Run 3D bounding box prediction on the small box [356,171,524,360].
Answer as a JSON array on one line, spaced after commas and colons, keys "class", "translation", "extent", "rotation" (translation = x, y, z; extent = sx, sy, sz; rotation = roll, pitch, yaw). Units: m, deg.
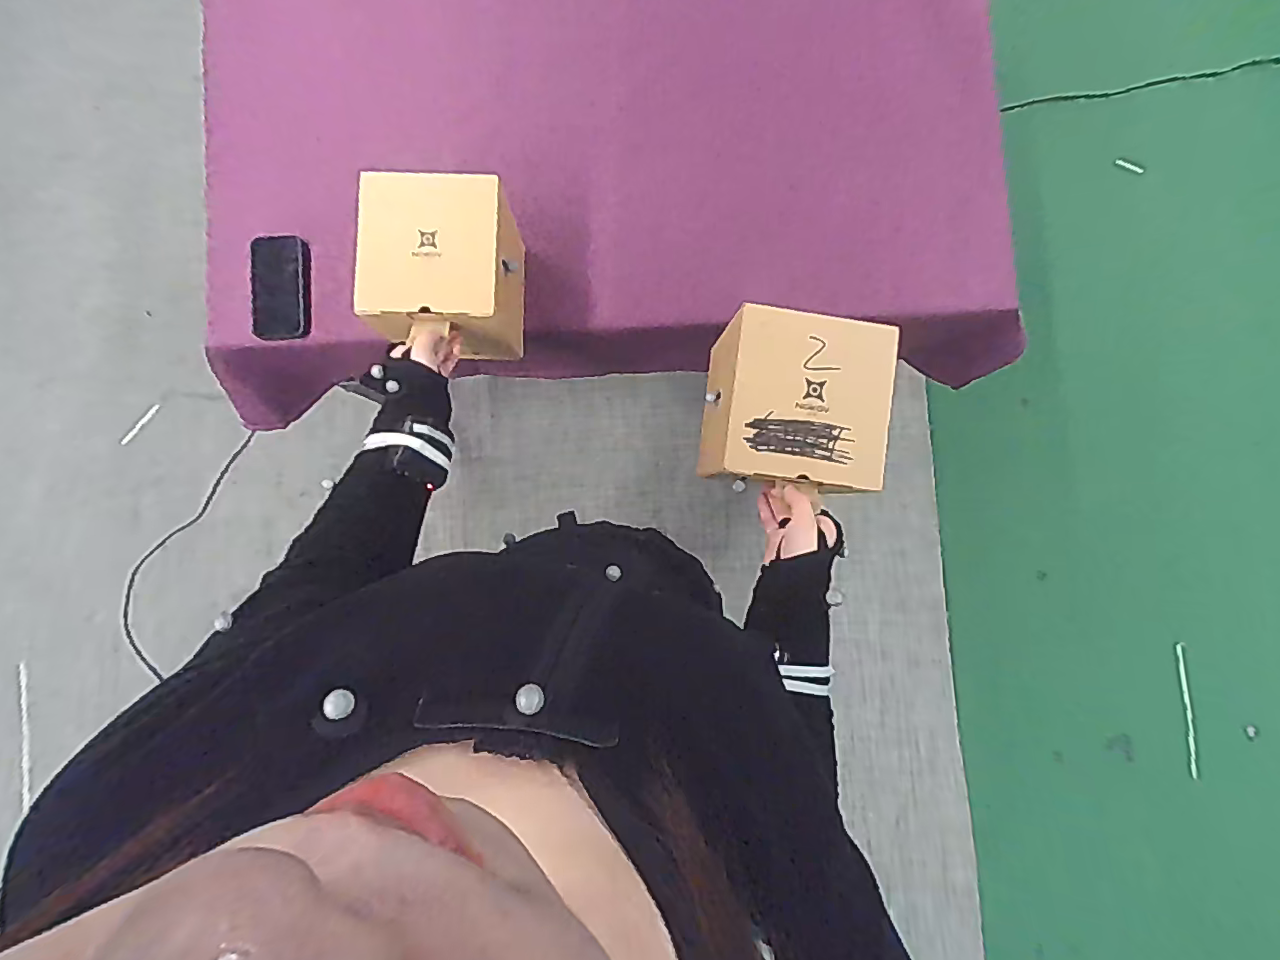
[{"class": "small box", "translation": [-0.251, -0.272, 0.718], "extent": [0.168, 0.176, 0.179], "rotation": [1, 86, -2]}]
